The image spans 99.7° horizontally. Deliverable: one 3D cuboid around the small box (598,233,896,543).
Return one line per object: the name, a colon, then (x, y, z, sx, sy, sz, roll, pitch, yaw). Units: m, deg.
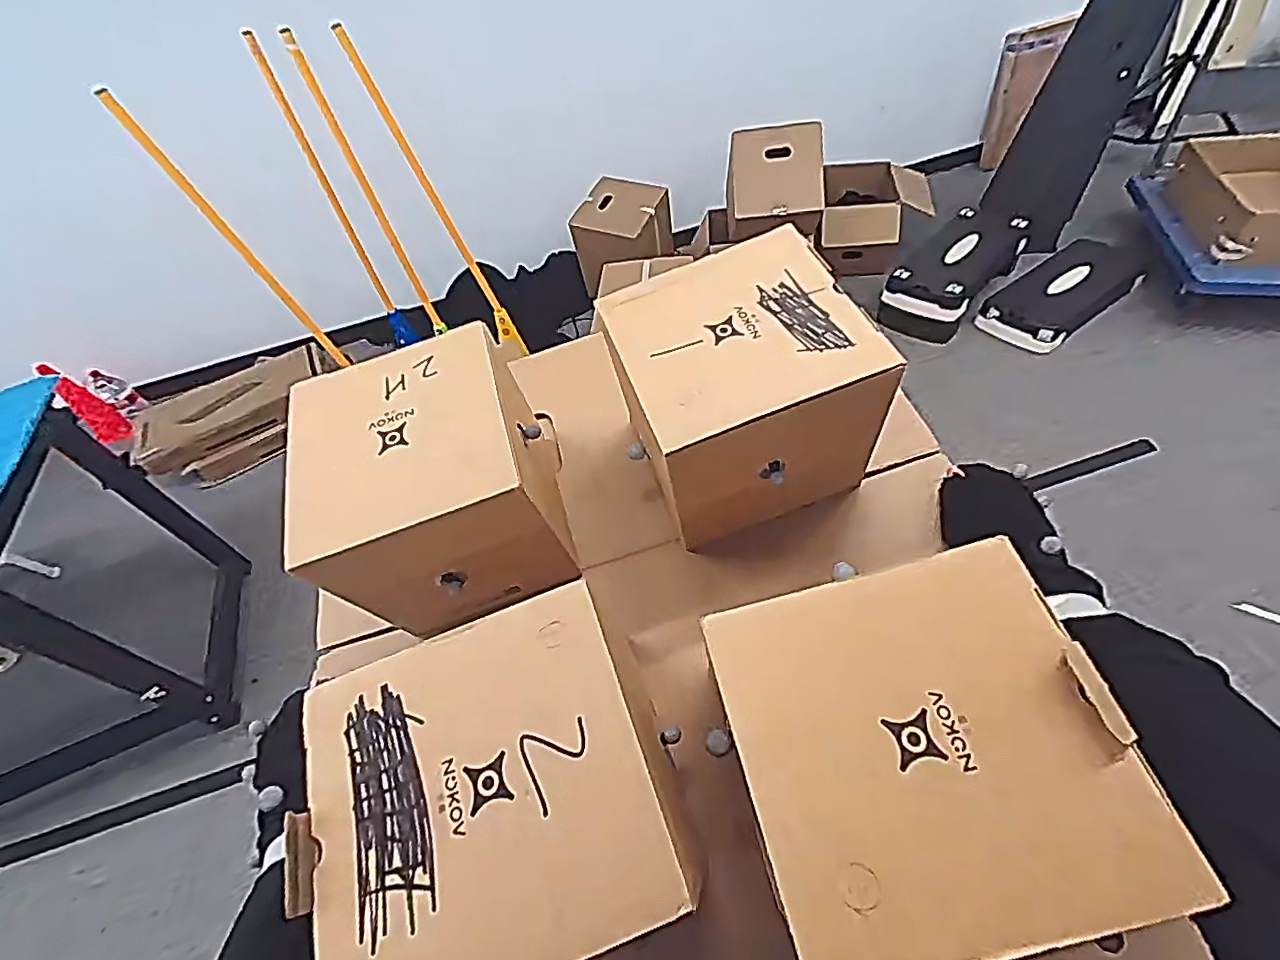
small box: (0.082, -0.070, 0.470, 0.179, 0.176, 0.168, -21, 59, 0)

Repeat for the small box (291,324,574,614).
small box: (-0.168, 0.003, 0.476, 0.168, 0.176, 0.179, -19, 58, -1)
